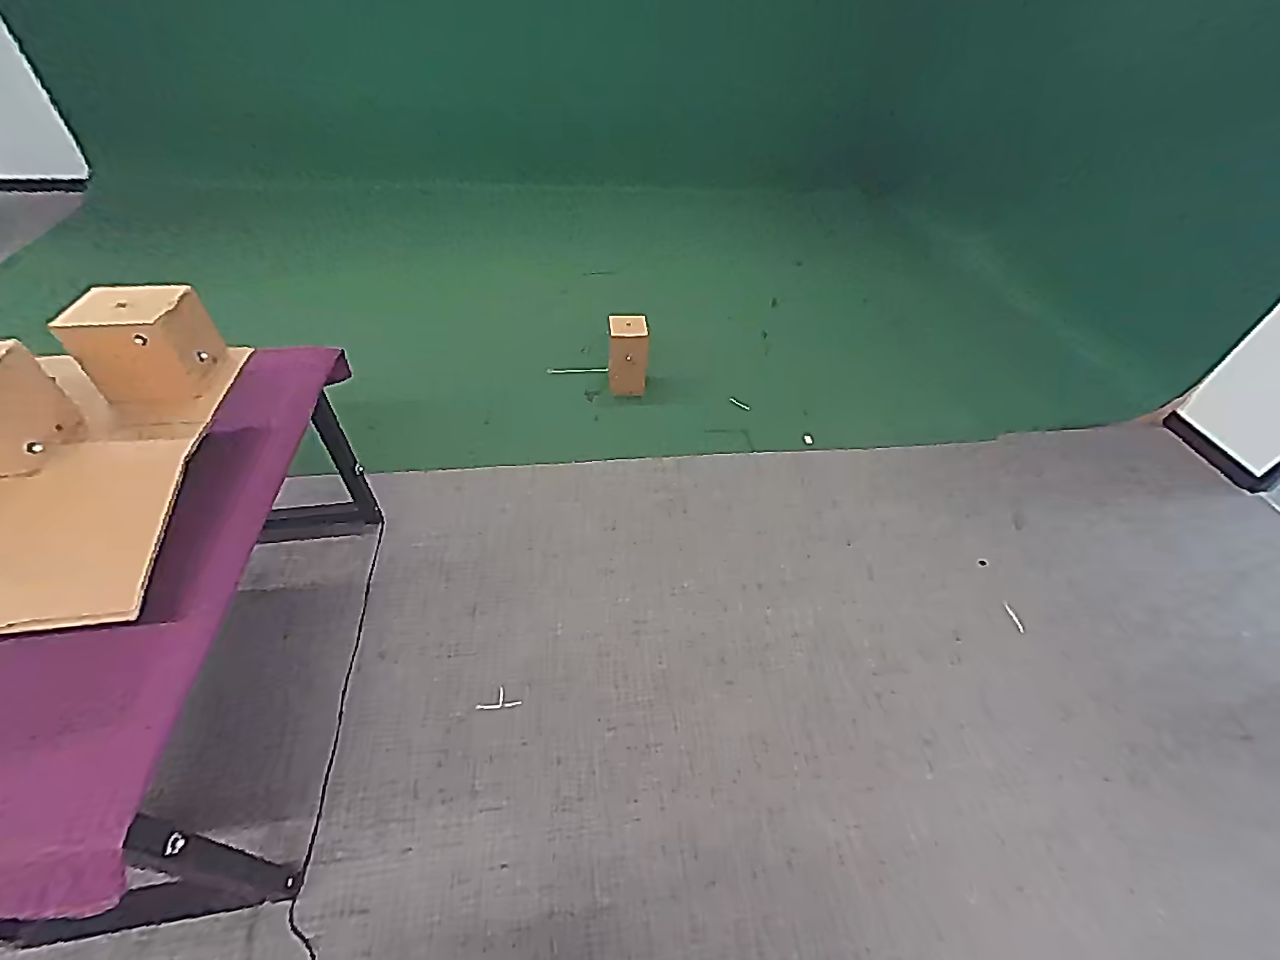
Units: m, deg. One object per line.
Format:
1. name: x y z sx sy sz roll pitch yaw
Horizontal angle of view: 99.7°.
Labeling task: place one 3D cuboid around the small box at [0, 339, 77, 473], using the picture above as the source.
1. small box: -1.137 -0.119 0.914 0.179 0.176 0.168 -6 44 -9

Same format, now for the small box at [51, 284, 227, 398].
1. small box: -0.993 -0.279 1.094 0.179 0.176 0.168 -5 45 -10

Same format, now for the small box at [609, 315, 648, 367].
1. small box: -0.056 -0.640 2.491 0.168 0.176 0.179 -2 47 -5
